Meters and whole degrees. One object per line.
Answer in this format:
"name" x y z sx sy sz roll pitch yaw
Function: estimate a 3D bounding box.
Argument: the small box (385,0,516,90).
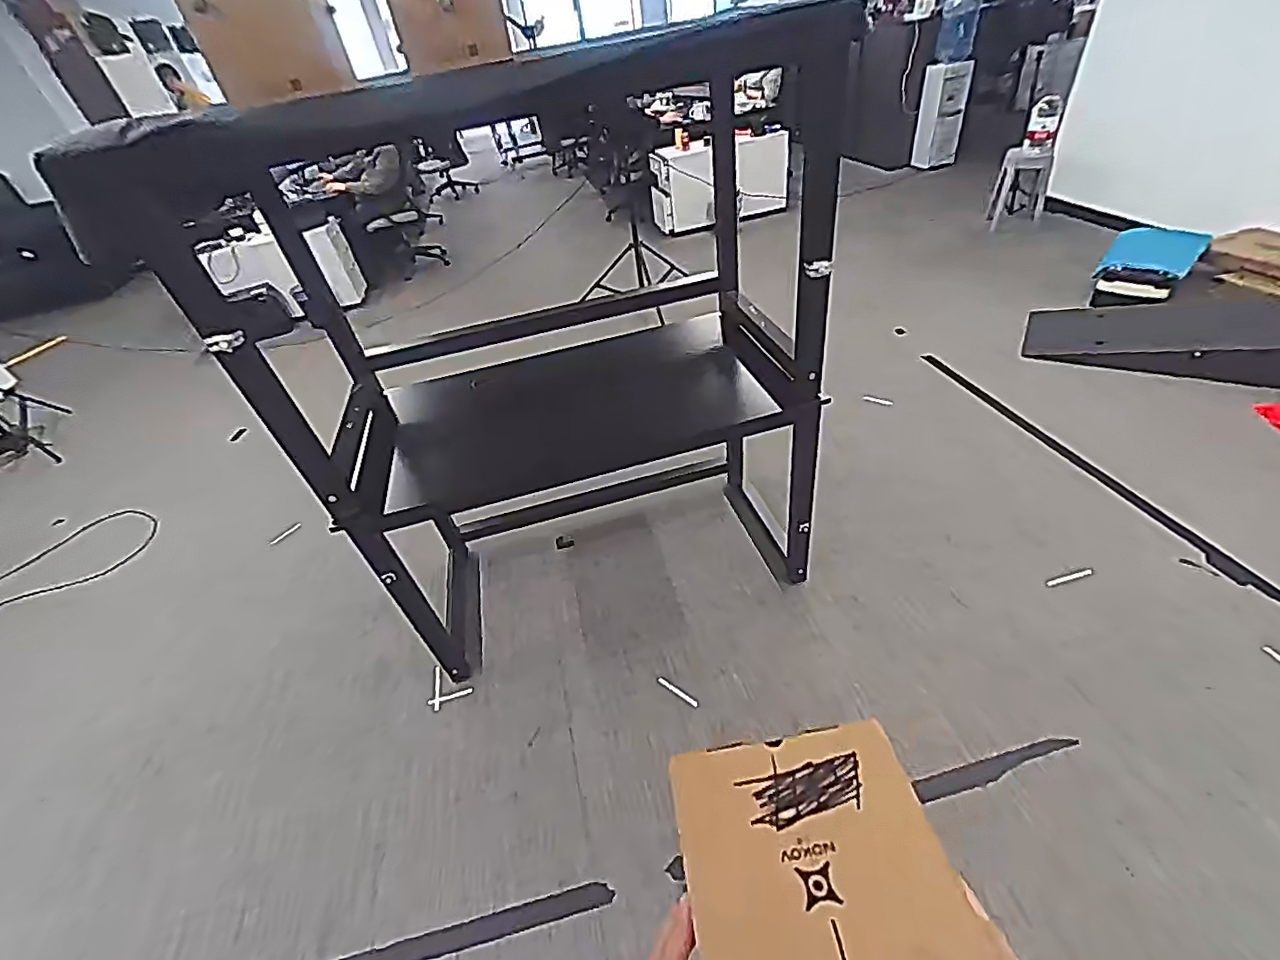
"small box" -0.300 -0.734 0.857 0.168 0.176 0.179 -14 39 -5

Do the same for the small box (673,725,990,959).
"small box" 0.122 0.317 0.396 0.168 0.176 0.179 -10 37 -1
